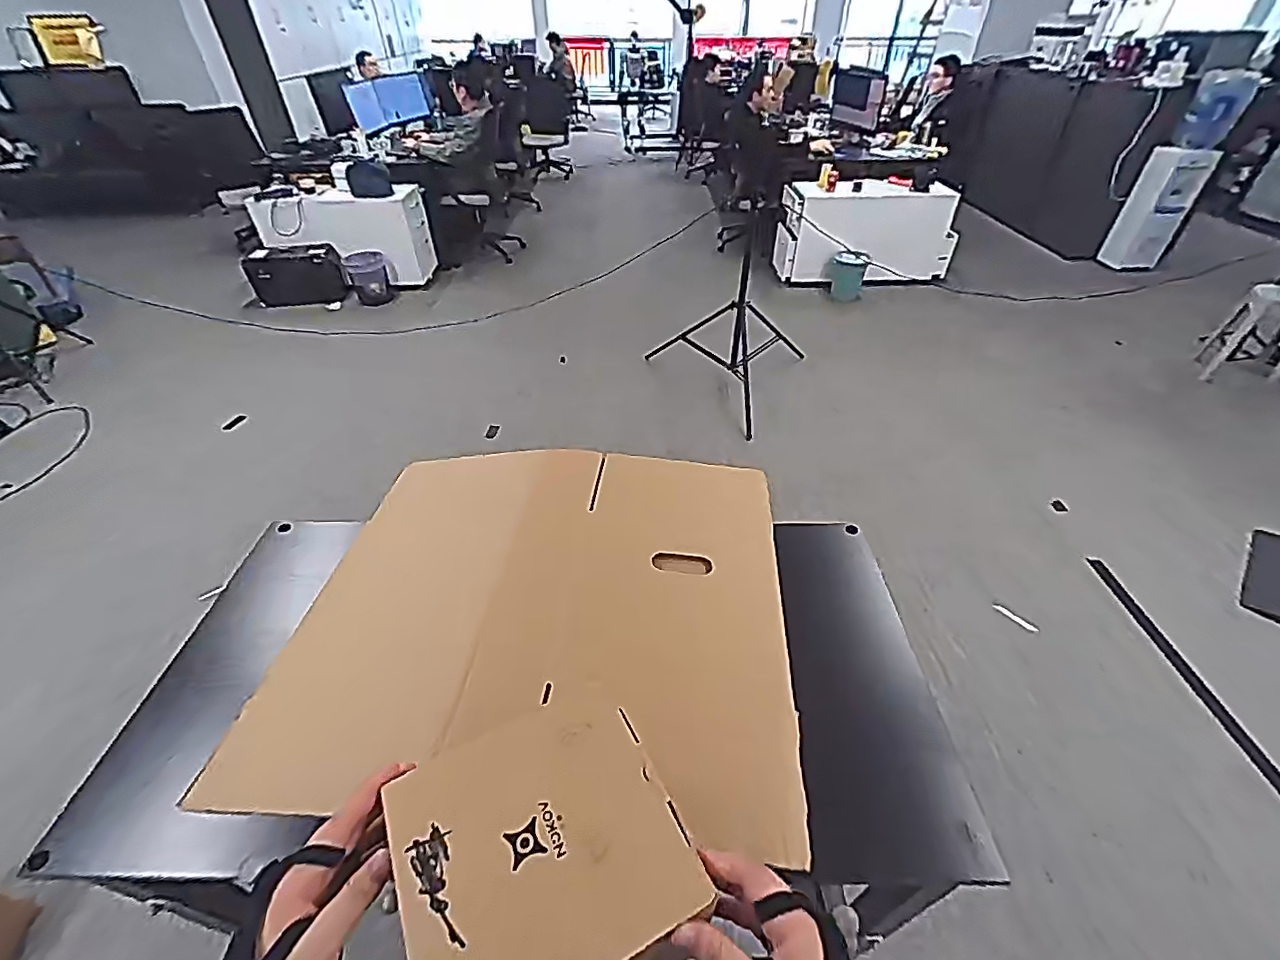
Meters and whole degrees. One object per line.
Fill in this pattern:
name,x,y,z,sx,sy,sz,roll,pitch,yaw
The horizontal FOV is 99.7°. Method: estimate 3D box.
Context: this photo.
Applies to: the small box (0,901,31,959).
small box,-1.421,0.973,1.095,0.168,0.176,0.179,-3,41,-3
